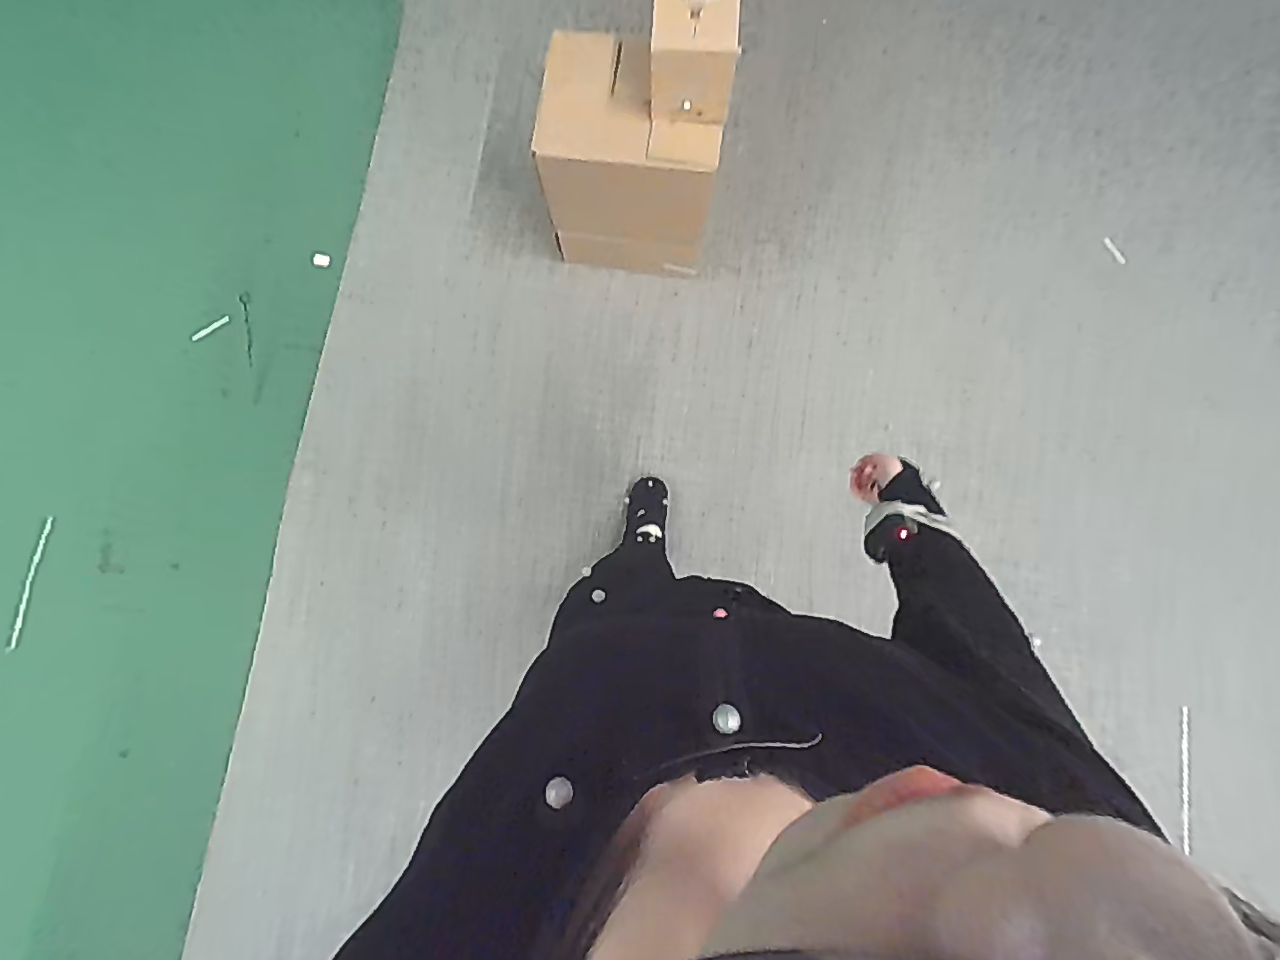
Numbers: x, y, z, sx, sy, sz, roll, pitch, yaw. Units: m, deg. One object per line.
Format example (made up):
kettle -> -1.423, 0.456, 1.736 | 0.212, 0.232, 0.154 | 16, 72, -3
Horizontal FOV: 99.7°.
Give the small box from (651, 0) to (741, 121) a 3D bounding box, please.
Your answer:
small box -> 0.110, -0.884, 1.109 | 0.168, 0.176, 0.179 | 4, 83, 3
